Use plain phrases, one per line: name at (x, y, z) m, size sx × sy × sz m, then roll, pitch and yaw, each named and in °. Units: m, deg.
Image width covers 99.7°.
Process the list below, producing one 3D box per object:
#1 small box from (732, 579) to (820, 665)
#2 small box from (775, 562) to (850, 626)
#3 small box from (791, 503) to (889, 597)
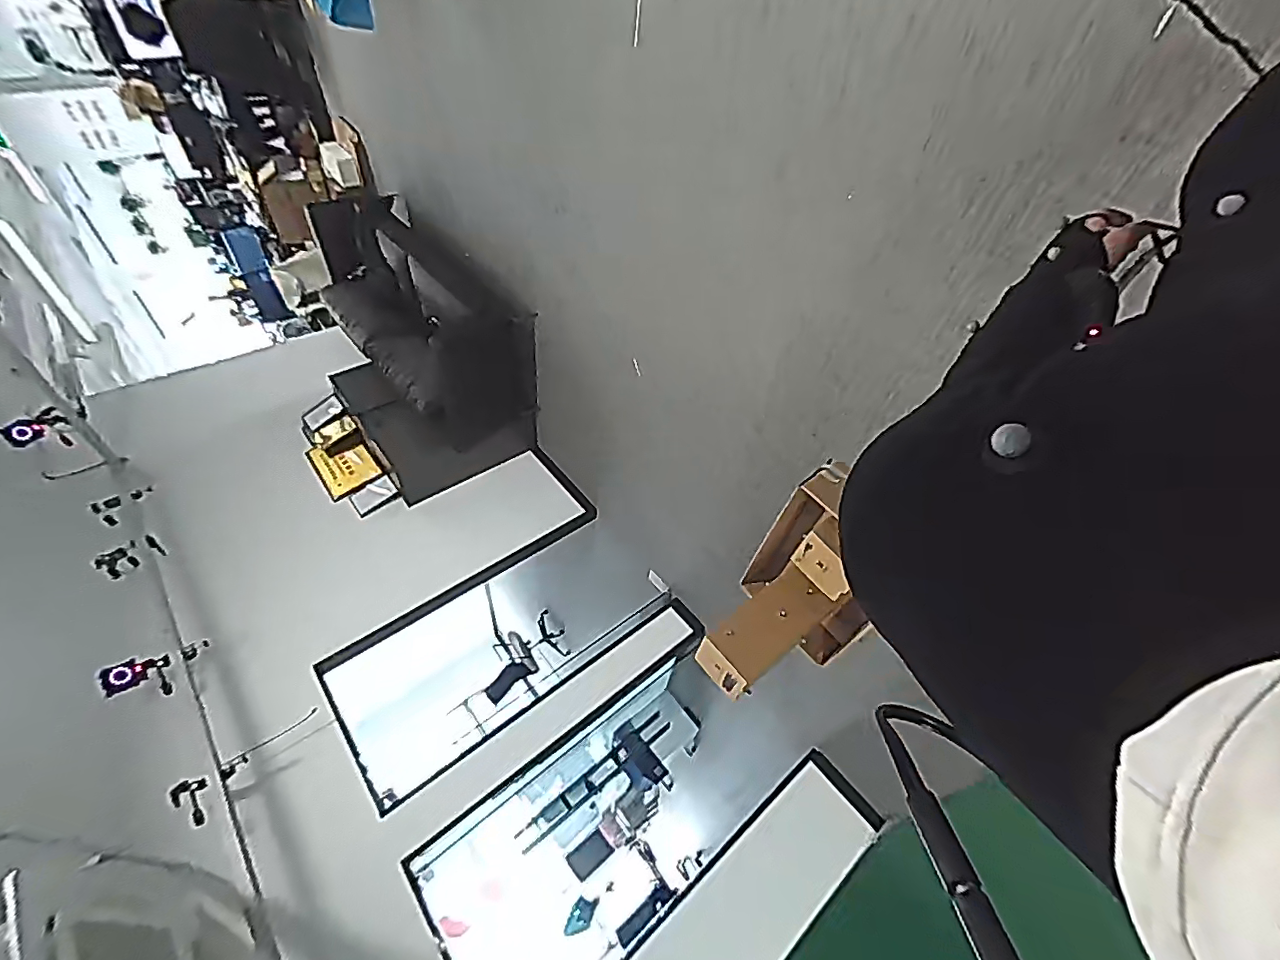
small box at (0.426, 0.437, 1.697) m, size 0.179 × 0.176 × 0.168 m, roll 44°, pitch 147°, yaw 25°
small box at (0.549, 0.367, 1.780) m, size 0.179 × 0.176 × 0.168 m, roll 46°, pitch 148°, yaw 24°
small box at (0.581, 0.200, 1.568) m, size 0.179 × 0.176 × 0.168 m, roll 46°, pitch 149°, yaw 22°
